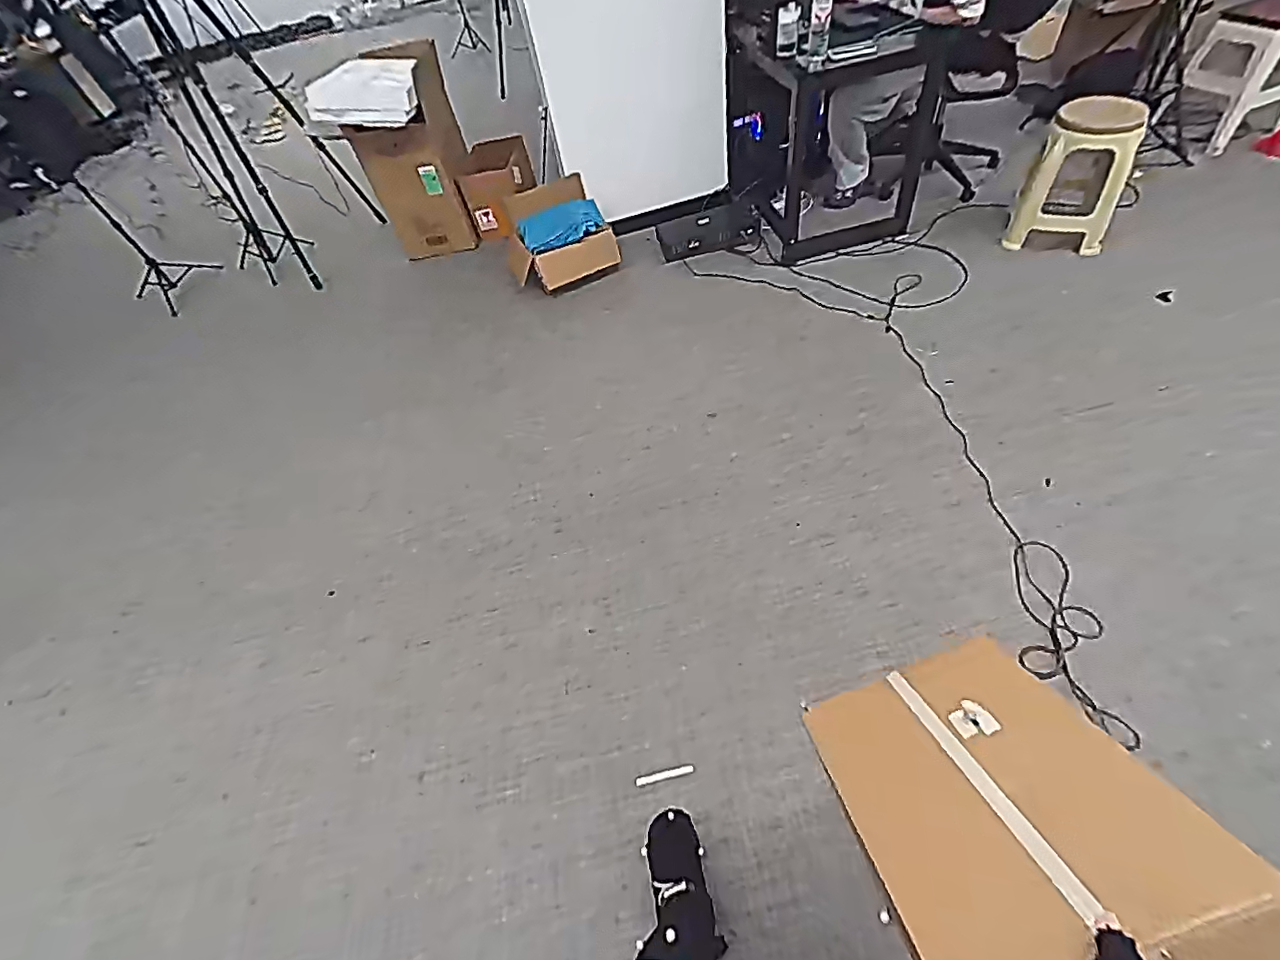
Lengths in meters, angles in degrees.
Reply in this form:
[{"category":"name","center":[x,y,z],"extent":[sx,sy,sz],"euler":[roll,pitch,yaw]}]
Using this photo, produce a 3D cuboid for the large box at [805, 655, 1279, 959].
[{"category":"large box","center":[0.474,0.512,0.702],"extent":[0.320,0.320,0.408],"euler":[-23,13,2]}]
